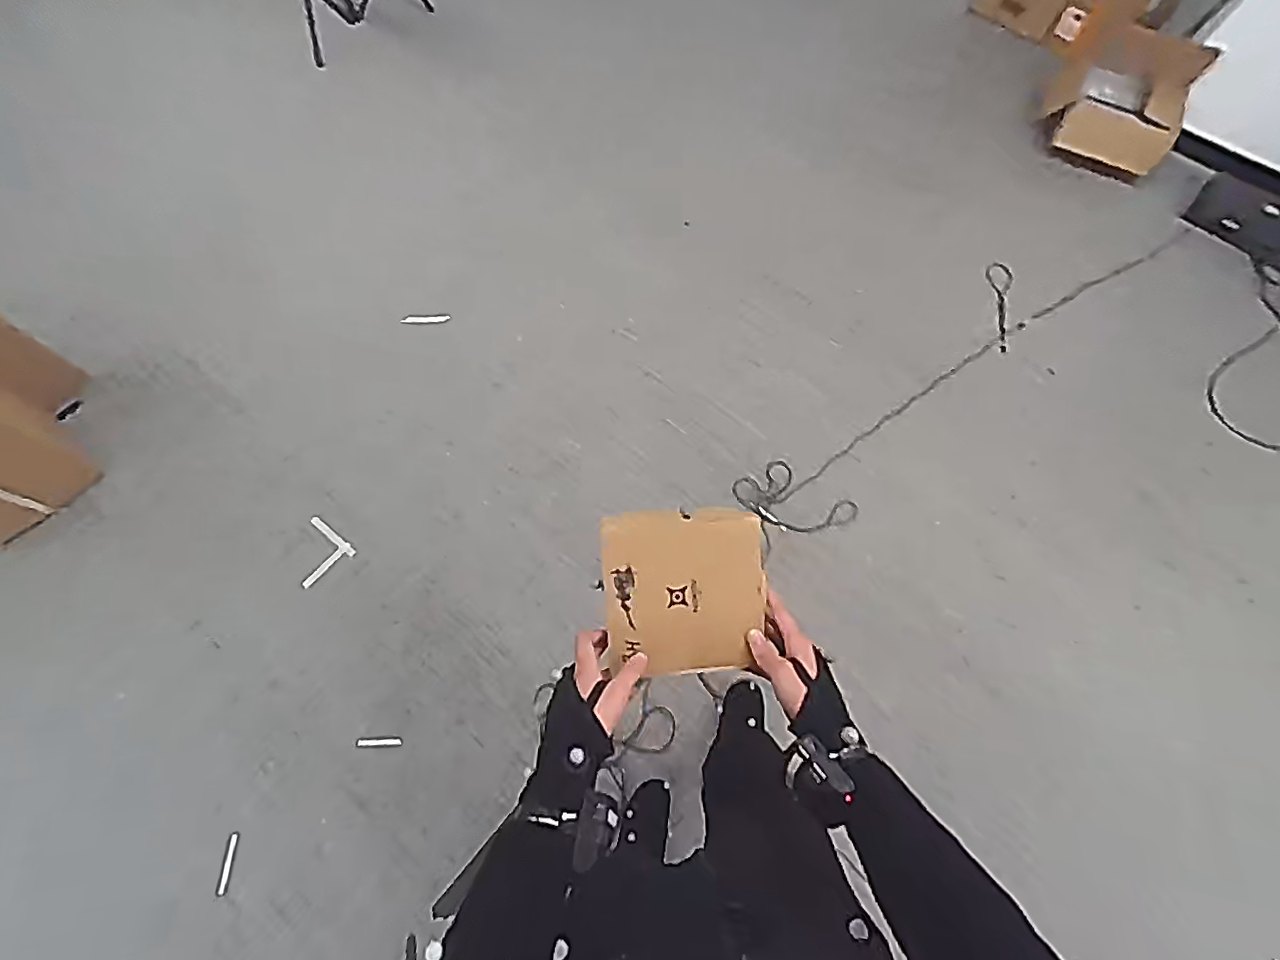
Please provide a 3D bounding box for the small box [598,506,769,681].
[{"bbox_3d":[0.042,0.124,0.656,0.179,0.176,0.168,-5,91,-3],"label":"small box"}]
